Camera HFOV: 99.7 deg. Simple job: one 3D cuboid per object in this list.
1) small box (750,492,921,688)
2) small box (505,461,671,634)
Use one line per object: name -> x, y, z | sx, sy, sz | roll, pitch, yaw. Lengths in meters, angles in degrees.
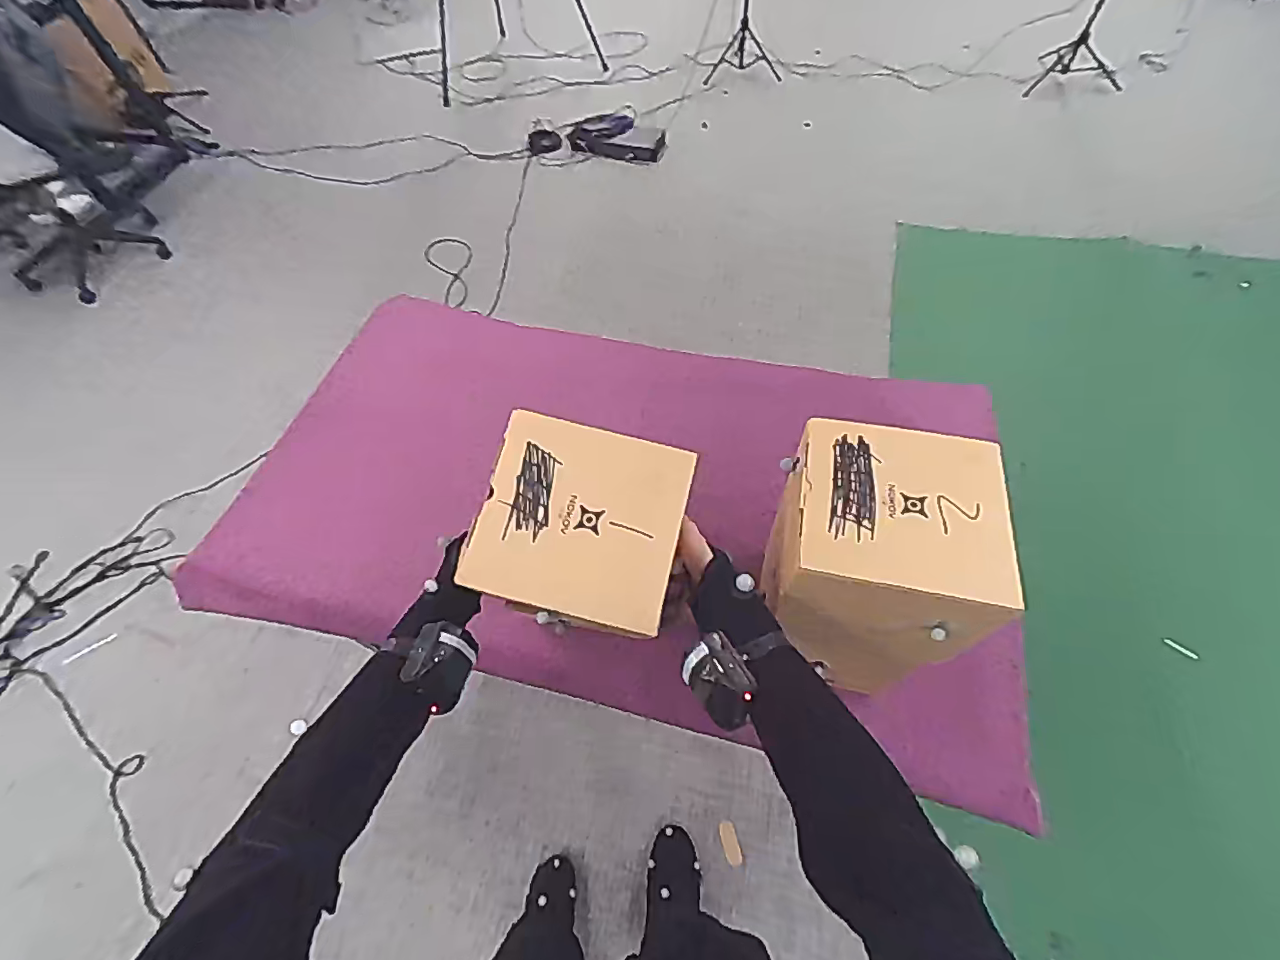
small box -> 0.238, 0.144, 0.683 | 0.168, 0.176, 0.179 | 12, 58, 11
small box -> -0.058, 0.098, 0.706 | 0.168, 0.176, 0.179 | 11, 70, 2
